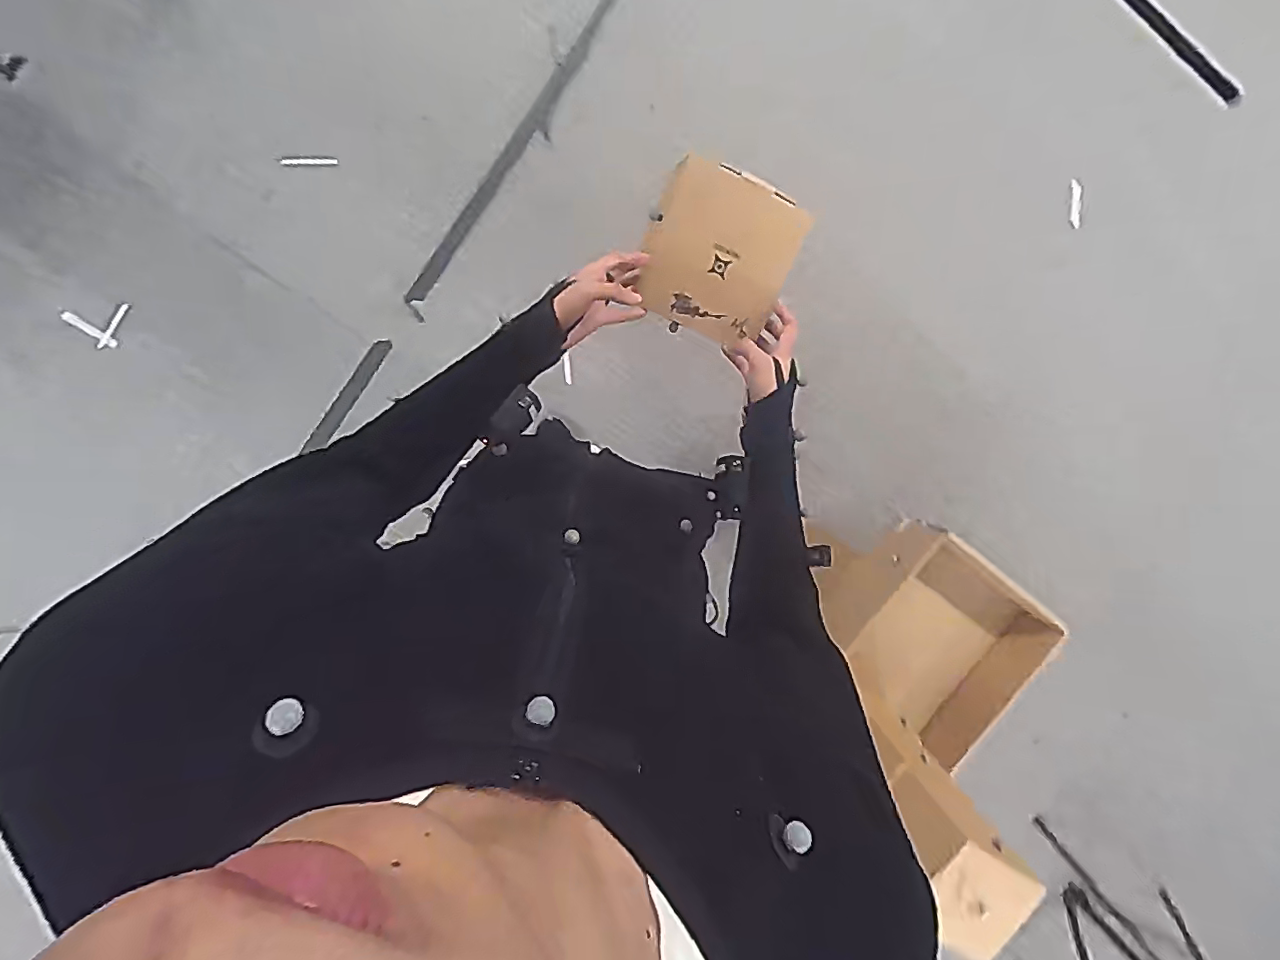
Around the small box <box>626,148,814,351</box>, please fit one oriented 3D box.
[{"bbox_3d":[0.088,-0.295,0.707,0.168,0.176,0.179,19,111,-14],"label":"small box"}]

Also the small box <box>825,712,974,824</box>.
[{"bbox_3d":[0.509,0.603,1.091,0.179,0.176,0.168,34,96,-9],"label":"small box"}]

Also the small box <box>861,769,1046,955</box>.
[{"bbox_3d":[0.525,0.644,0.931,0.179,0.176,0.168,33,96,-8],"label":"small box"}]
